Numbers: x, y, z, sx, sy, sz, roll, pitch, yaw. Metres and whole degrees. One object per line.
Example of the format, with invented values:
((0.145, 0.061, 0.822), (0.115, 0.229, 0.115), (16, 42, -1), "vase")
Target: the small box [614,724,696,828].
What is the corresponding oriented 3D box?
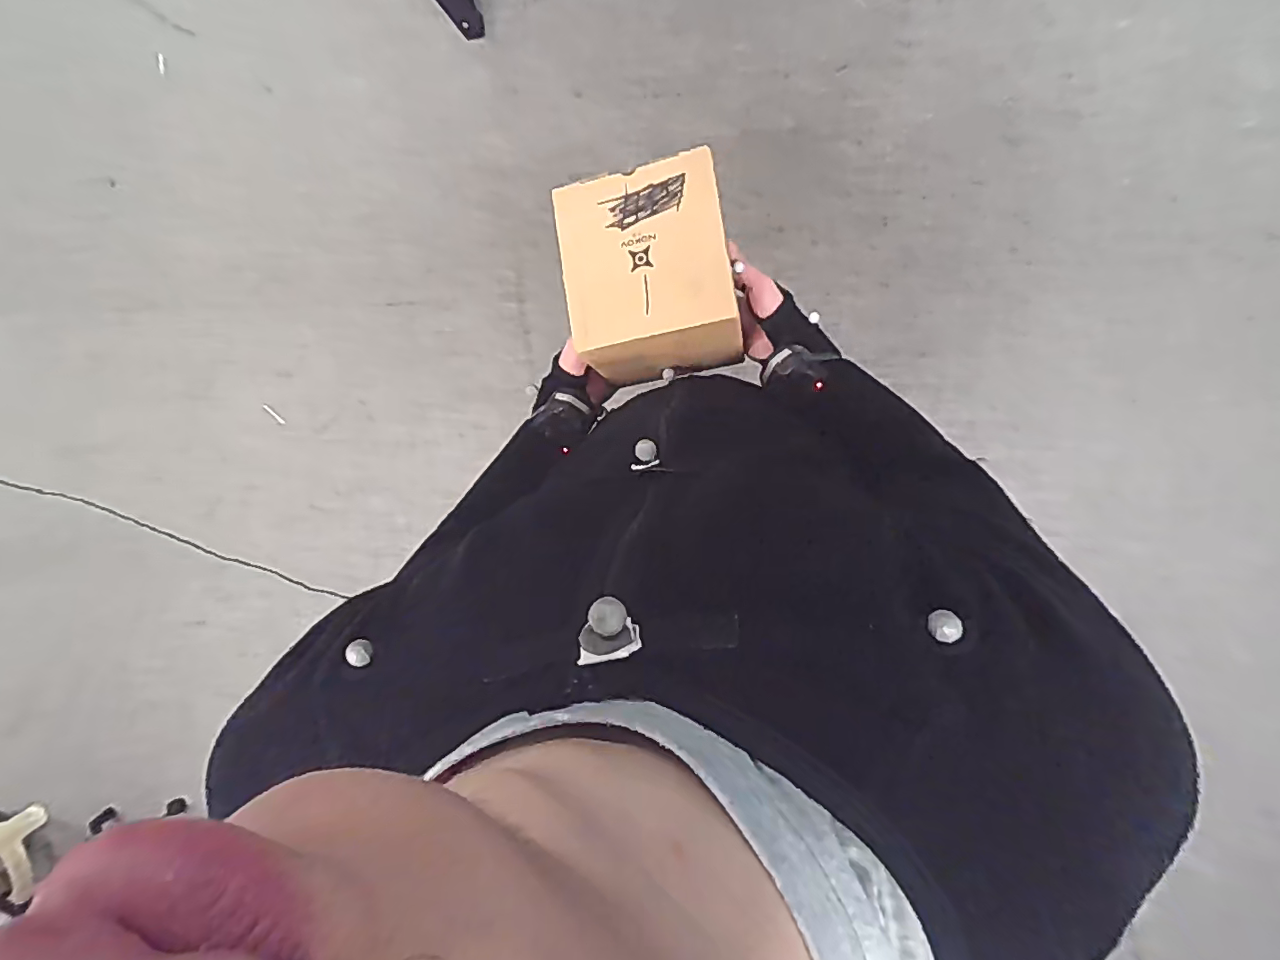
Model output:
((0.052, 0.873, 1.612), (0.168, 0.176, 0.179), (44, 104, 3), "small box")
